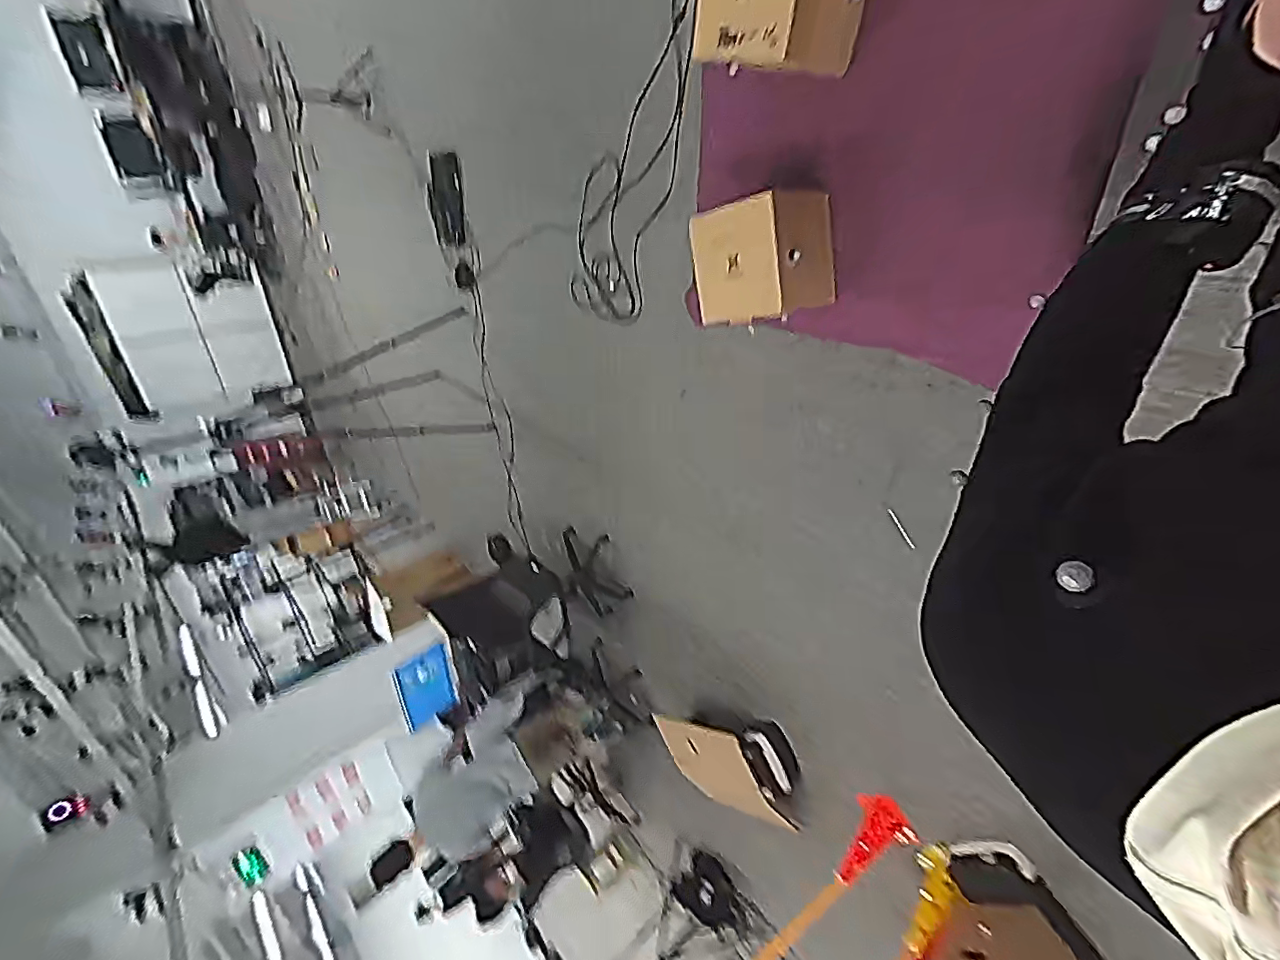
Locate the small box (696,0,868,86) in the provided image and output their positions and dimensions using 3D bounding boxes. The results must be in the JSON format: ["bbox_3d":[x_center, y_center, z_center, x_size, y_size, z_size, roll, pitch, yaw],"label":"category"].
[{"bbox_3d":[0.205,-0.674,0.757,0.168,0.176,0.179,35,134,35],"label":"small box"}]

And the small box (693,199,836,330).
[{"bbox_3d":[0.216,-0.363,0.919,0.168,0.176,0.179,9,116,47],"label":"small box"}]
